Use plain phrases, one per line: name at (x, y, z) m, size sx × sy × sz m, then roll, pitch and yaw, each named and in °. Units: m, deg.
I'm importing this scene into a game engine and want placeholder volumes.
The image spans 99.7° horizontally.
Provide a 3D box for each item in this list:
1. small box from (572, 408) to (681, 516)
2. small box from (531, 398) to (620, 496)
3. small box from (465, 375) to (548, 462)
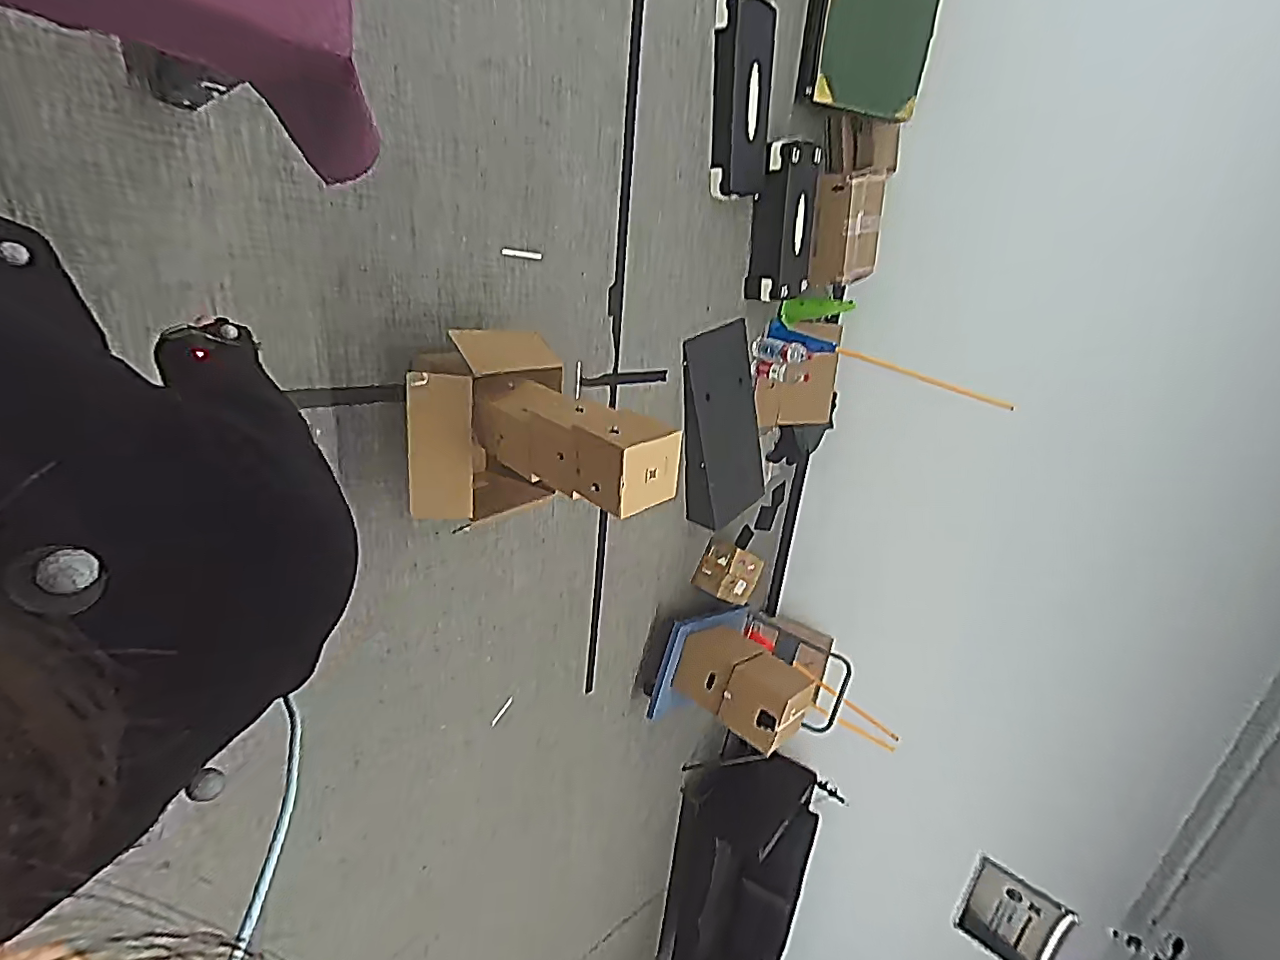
small box at (-0.035, -0.047, 1.194) m, size 0.179 × 0.176 × 0.168 m, roll -21°, pitch 127°, yaw -40°
small box at (-0.151, -0.089, 1.303) m, size 0.168 × 0.176 × 0.179 m, roll -22°, pitch 126°, yaw -39°
small box at (-0.369, -0.184, 1.532) m, size 0.168 × 0.176 × 0.179 m, roll -36°, pitch 135°, yaw -31°
